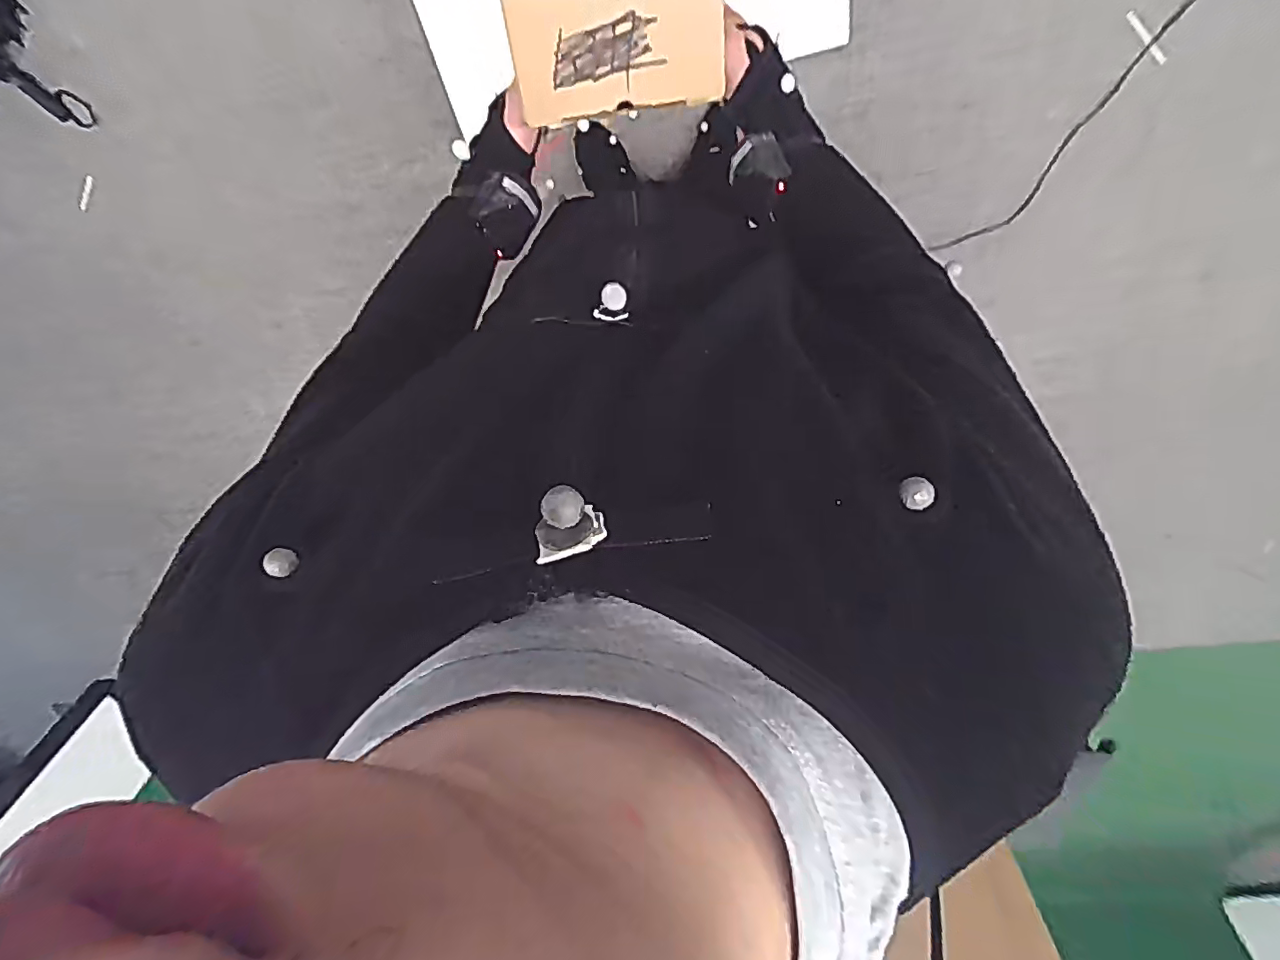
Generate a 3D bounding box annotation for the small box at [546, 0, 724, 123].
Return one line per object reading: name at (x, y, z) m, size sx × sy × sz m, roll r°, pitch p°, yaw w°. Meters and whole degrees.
small box at (-0.008, -0.511, 0.590) m, size 0.168 × 0.176 × 0.179 m, roll -10°, pitch 125°, yaw 9°
